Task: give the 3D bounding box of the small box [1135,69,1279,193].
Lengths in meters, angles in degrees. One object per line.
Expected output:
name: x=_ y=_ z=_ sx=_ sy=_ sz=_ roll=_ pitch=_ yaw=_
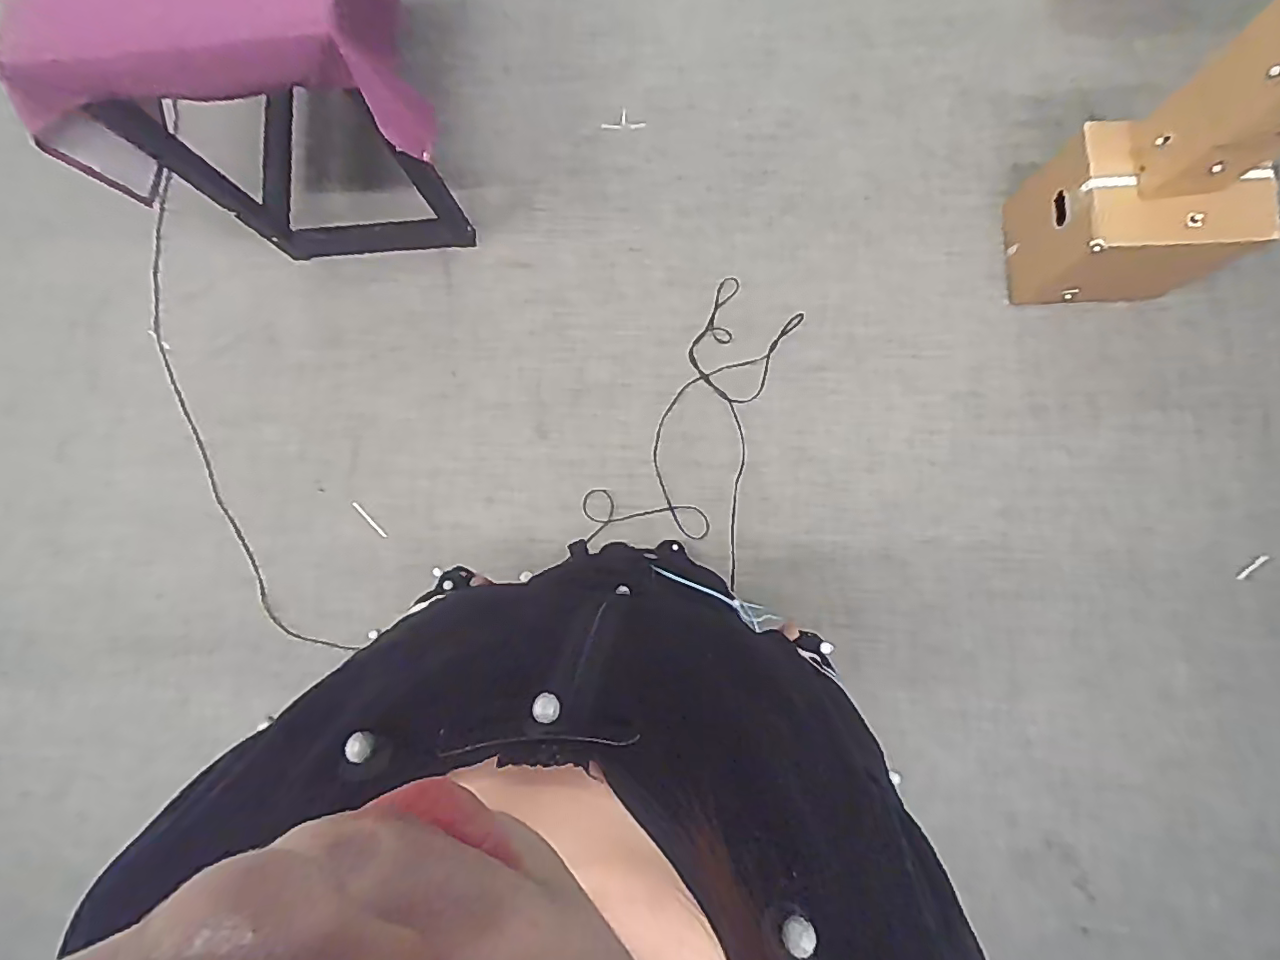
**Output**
small box: x=1.208 y=-0.739 z=1.148 sx=0.179 sy=0.176 sz=0.168 roll=-4 pitch=83 yaw=3
